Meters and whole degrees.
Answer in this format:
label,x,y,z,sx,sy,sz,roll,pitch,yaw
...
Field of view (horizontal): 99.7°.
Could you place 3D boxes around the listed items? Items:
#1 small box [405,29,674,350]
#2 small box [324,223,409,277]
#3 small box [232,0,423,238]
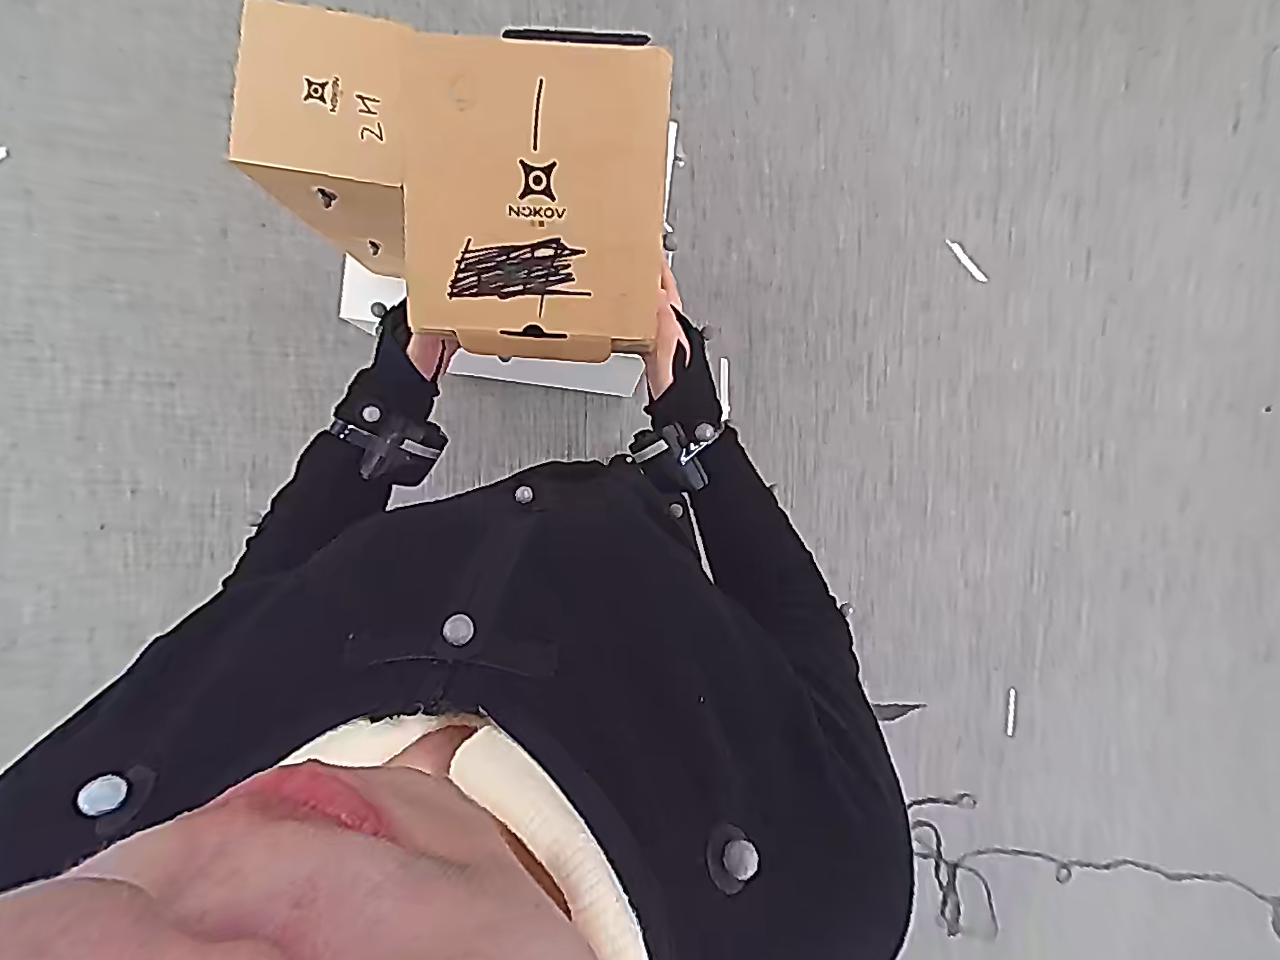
label,x,y,z,sx,sy,sz,roll,pitch,yaw
small box,-0.065,-0.196,0.419,0.168,0.176,0.179,3,100,-1
small box,-0.333,-0.409,0.793,0.168,0.176,0.179,8,91,-4
small box,-0.322,-0.398,0.629,0.179,0.176,0.168,7,93,-4
